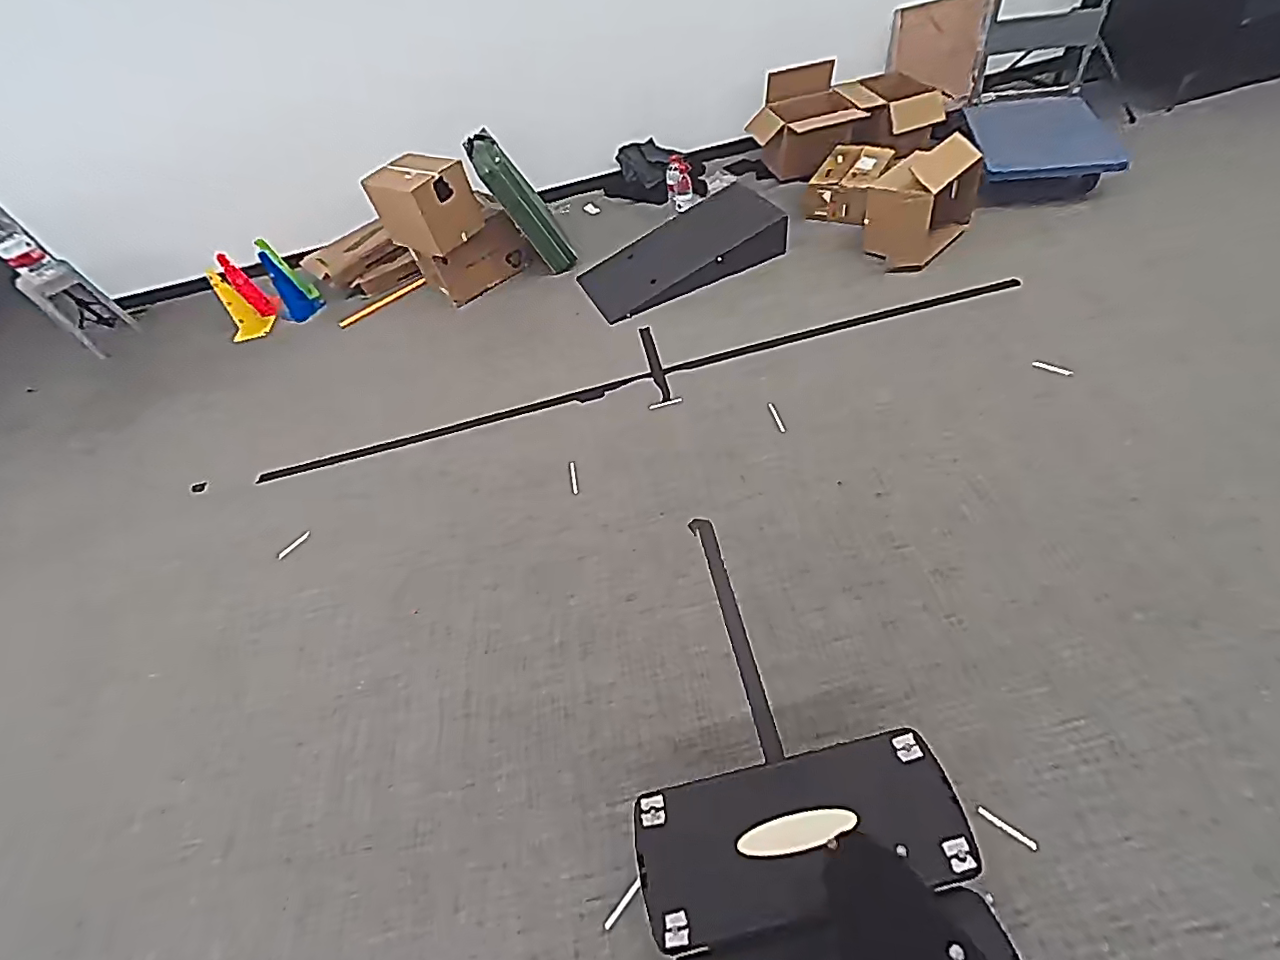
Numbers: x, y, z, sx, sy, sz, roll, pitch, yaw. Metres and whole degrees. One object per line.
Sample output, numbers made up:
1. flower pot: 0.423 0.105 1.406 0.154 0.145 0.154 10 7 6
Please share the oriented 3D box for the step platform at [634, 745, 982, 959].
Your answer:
1. step platform: 0.329 0.803 1.152 0.684 0.204 0.286 -15 51 -1
